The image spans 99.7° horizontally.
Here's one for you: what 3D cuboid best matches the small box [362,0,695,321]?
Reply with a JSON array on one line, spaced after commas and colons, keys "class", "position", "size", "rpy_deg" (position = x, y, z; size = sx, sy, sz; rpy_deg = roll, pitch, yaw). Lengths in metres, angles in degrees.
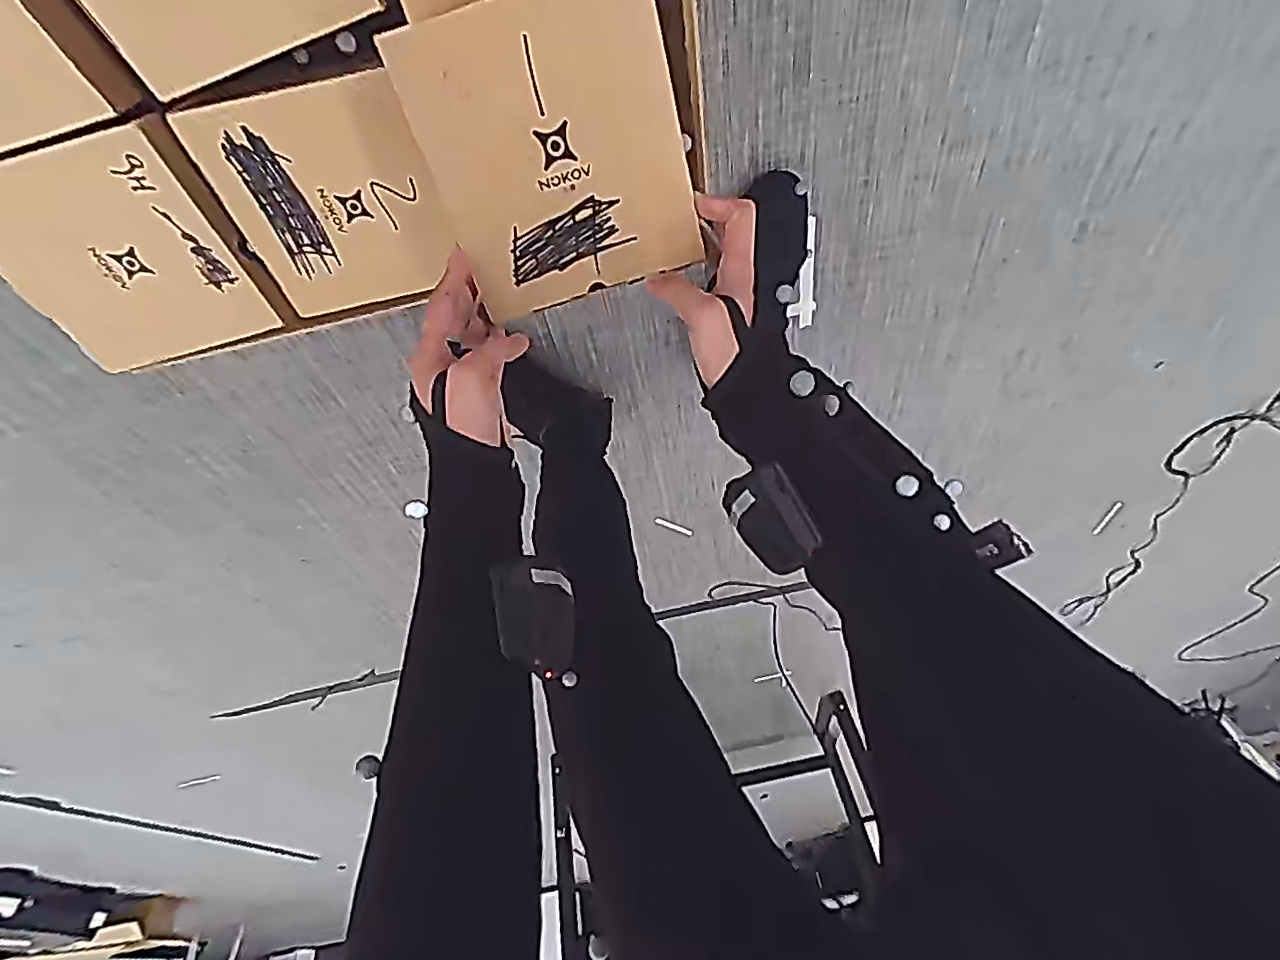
[{"class": "small box", "position": [-0.066, -0.247, 0.412], "size": [0.168, 0.176, 0.179], "rpy_deg": [-17, 121, 3]}]
